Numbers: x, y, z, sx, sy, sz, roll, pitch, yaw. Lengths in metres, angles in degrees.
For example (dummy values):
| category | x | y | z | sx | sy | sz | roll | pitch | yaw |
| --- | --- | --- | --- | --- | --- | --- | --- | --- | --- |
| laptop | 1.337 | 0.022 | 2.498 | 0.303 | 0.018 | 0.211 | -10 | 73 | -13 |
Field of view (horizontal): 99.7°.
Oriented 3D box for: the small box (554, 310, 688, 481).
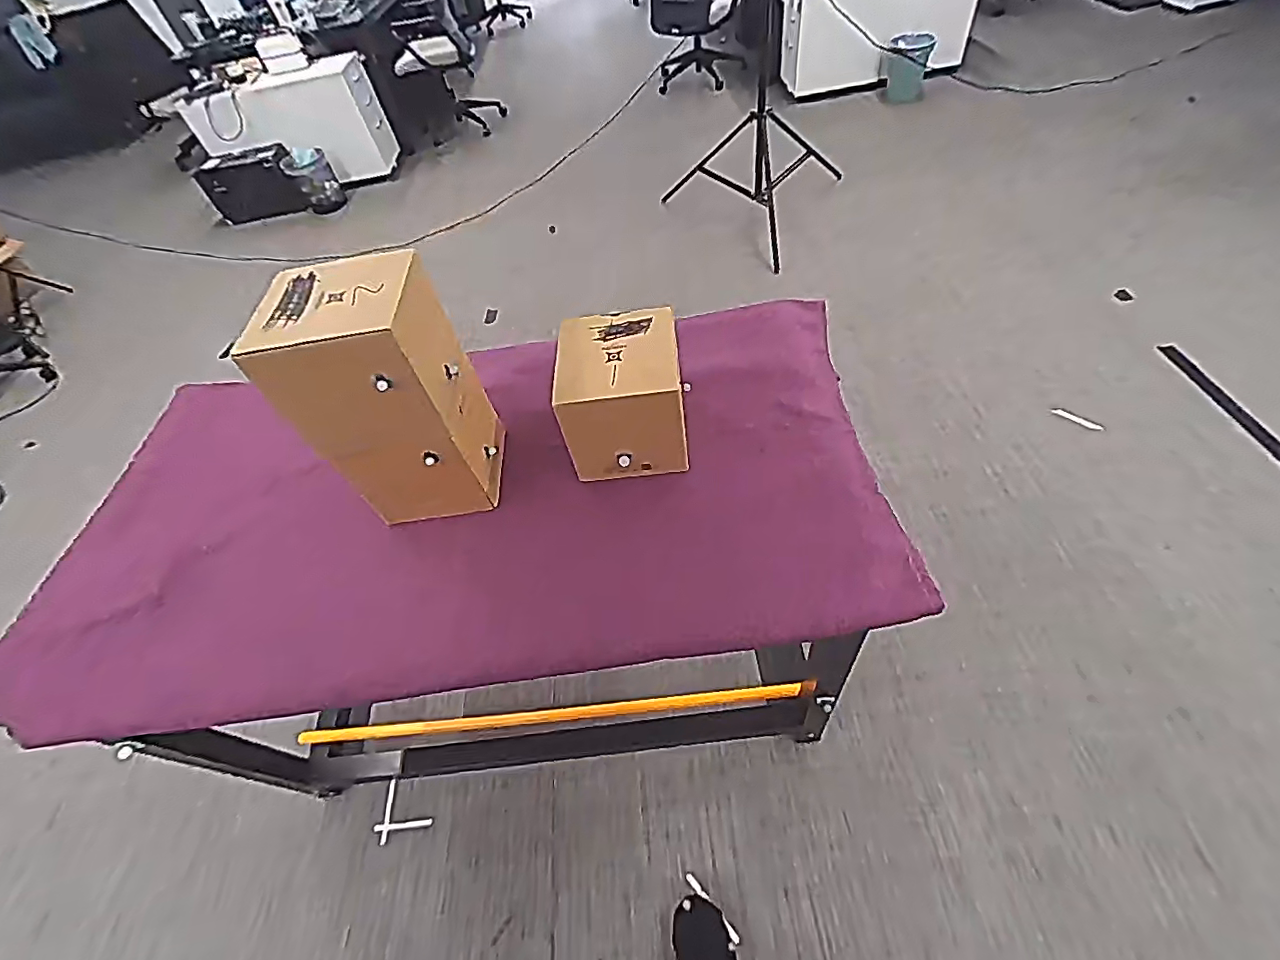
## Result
| category | x | y | z | sx | sy | sz | roll | pitch | yaw |
| --- | --- | --- | --- | --- | --- | --- | --- | --- | --- |
| small box | -0.020 | -0.121 | 0.797 | 0.168 | 0.176 | 0.179 | -6 | 52 | 6 |

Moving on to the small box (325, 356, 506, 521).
| category | x | y | z | sx | sy | sz | roll | pitch | yaw |
| --- | --- | --- | --- | --- | --- | --- | --- | --- | --- |
| small box | -0.316 | -0.056 | 0.801 | 0.179 | 0.176 | 0.168 | -8 | 51 | 3 |
